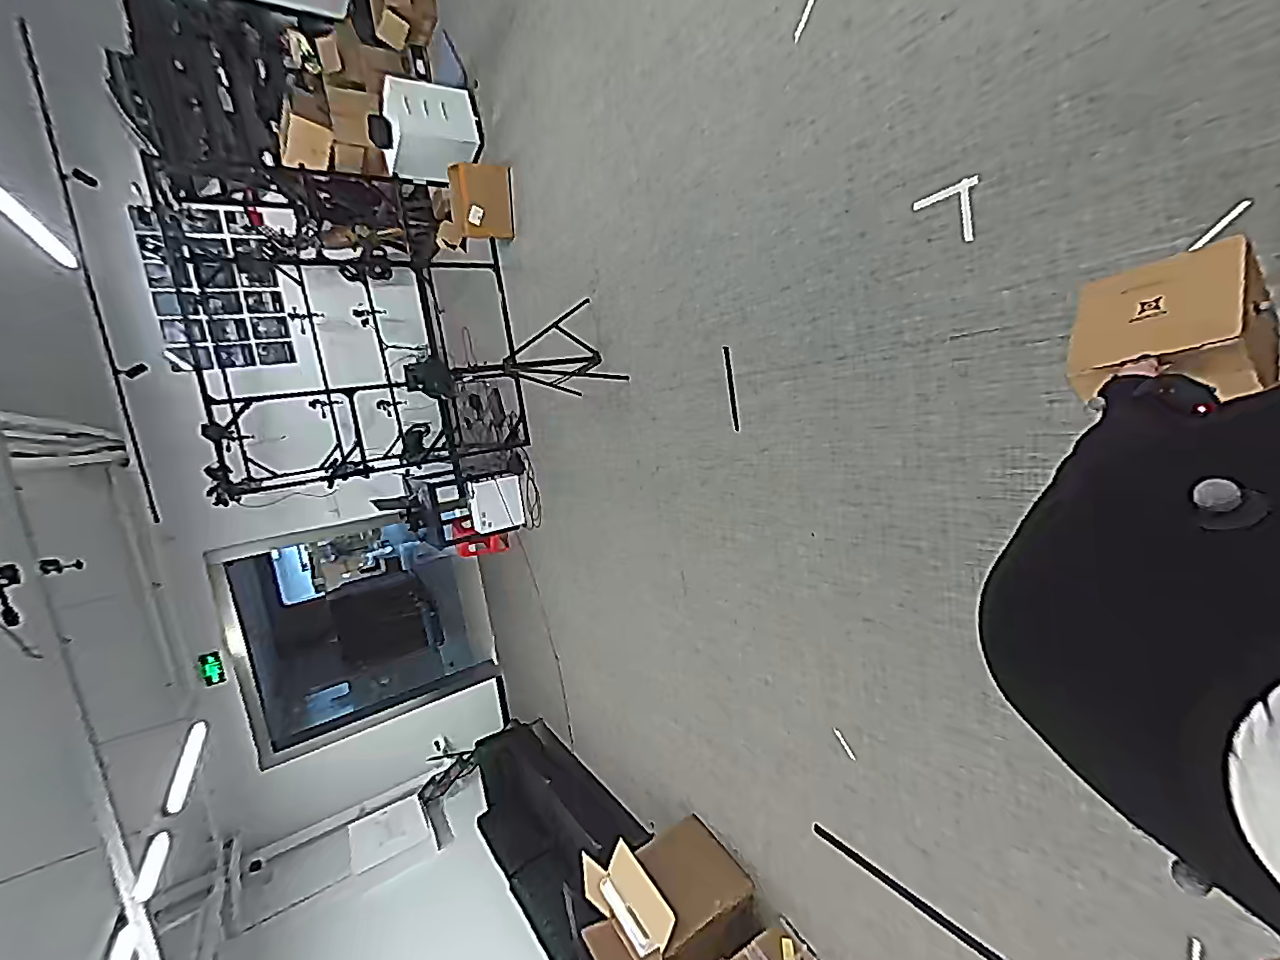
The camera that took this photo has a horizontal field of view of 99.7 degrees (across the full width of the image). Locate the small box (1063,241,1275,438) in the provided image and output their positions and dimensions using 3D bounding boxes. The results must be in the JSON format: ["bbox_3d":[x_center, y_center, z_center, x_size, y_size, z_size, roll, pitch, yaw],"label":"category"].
[{"bbox_3d":[0.711,-0.170,0.726,0.176,0.179,0.168,39,156,-24],"label":"small box"}]
